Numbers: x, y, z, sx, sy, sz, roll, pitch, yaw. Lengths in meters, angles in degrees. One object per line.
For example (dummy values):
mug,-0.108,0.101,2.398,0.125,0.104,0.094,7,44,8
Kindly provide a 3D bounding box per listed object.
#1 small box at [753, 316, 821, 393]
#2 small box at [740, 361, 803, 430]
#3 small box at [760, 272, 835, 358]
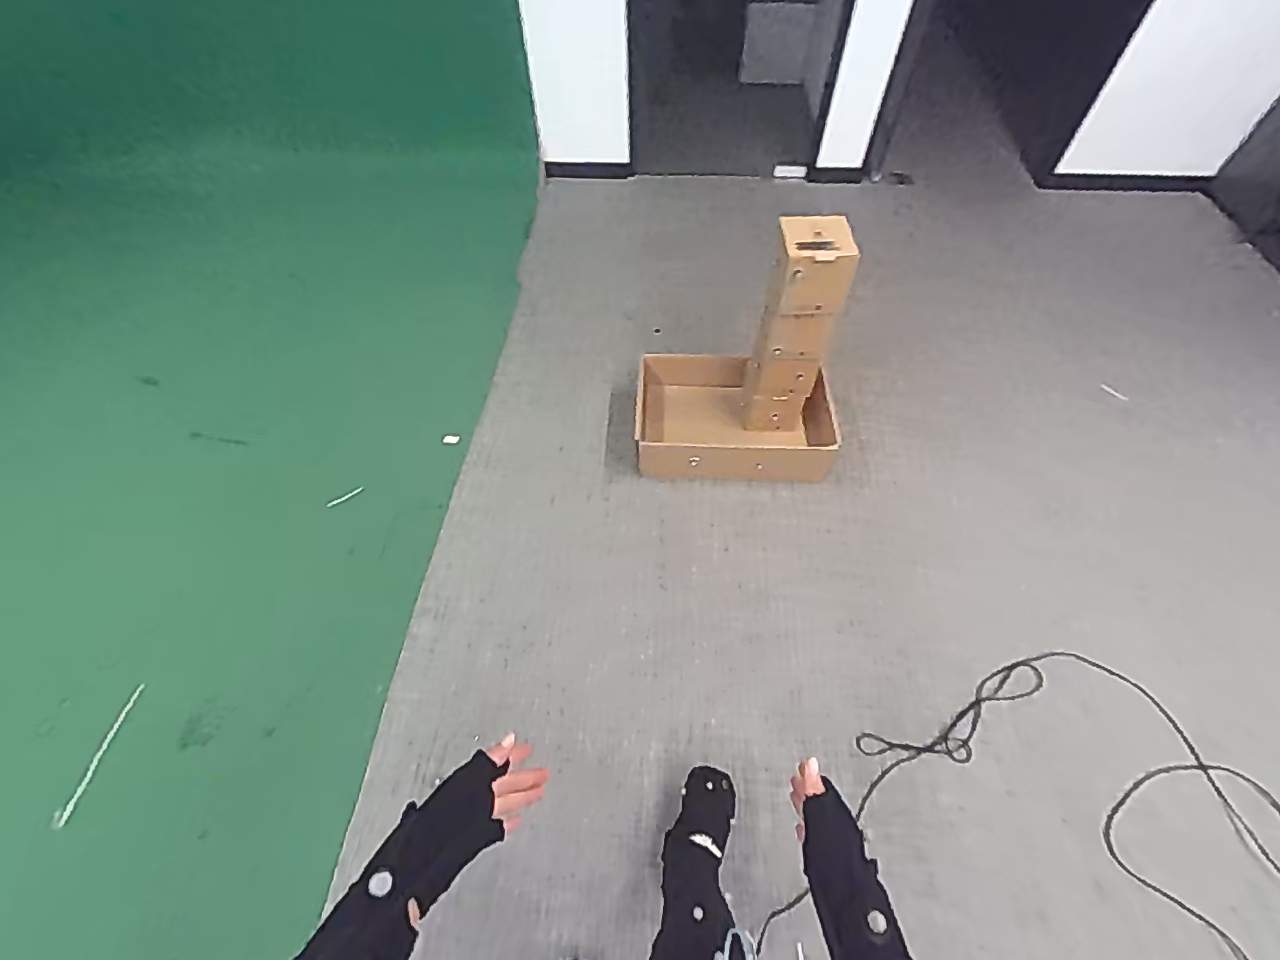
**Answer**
small box,0.440,-0.382,1.646,0.168,0.176,0.179,1,55,3
small box,0.430,-0.277,1.794,0.168,0.176,0.179,-3,54,1
small box,0.436,-0.460,1.521,0.168,0.176,0.179,2,55,2
